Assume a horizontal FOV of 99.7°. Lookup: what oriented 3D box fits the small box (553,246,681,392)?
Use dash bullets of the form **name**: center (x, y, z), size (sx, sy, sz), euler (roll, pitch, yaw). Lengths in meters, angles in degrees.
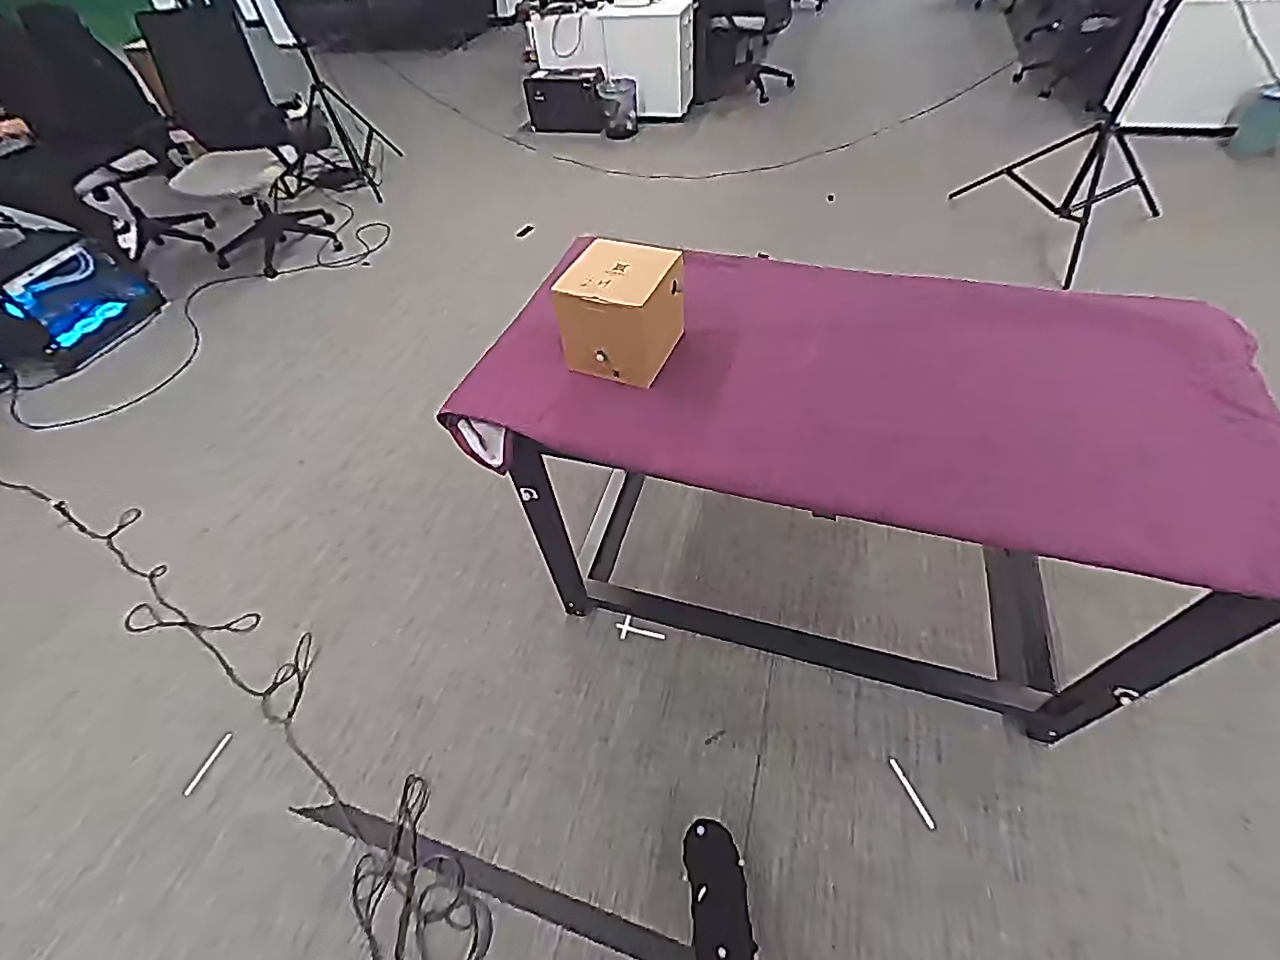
- **small box**: center (-0.033, -0.288, 0.970), size (0.168, 0.176, 0.179), euler (16, 54, 18)
